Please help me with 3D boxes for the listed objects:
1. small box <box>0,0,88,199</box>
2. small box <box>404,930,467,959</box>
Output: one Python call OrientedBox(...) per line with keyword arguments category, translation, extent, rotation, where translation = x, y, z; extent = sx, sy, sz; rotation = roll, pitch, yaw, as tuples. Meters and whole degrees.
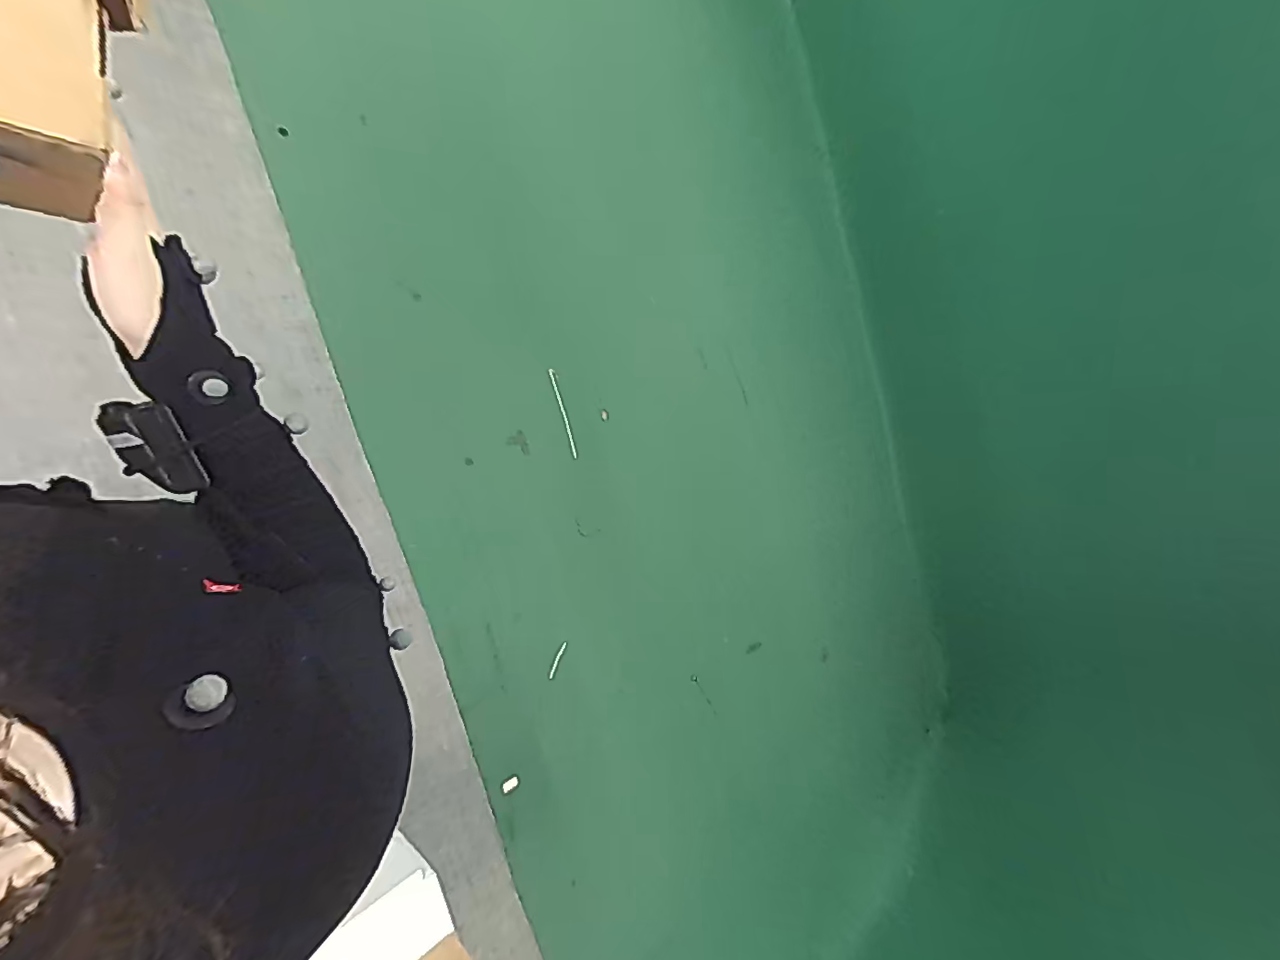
OrientedBox(category="small box", translation=(-0.353, -0.235, 0.216), extent=(0.179, 0.176, 0.168), rotation=(-5, 102, -48))
OrientedBox(category="small box", translation=(-0.317, 0.832, 0.796), extent=(0.179, 0.176, 0.168), rotation=(-21, 99, -41))
